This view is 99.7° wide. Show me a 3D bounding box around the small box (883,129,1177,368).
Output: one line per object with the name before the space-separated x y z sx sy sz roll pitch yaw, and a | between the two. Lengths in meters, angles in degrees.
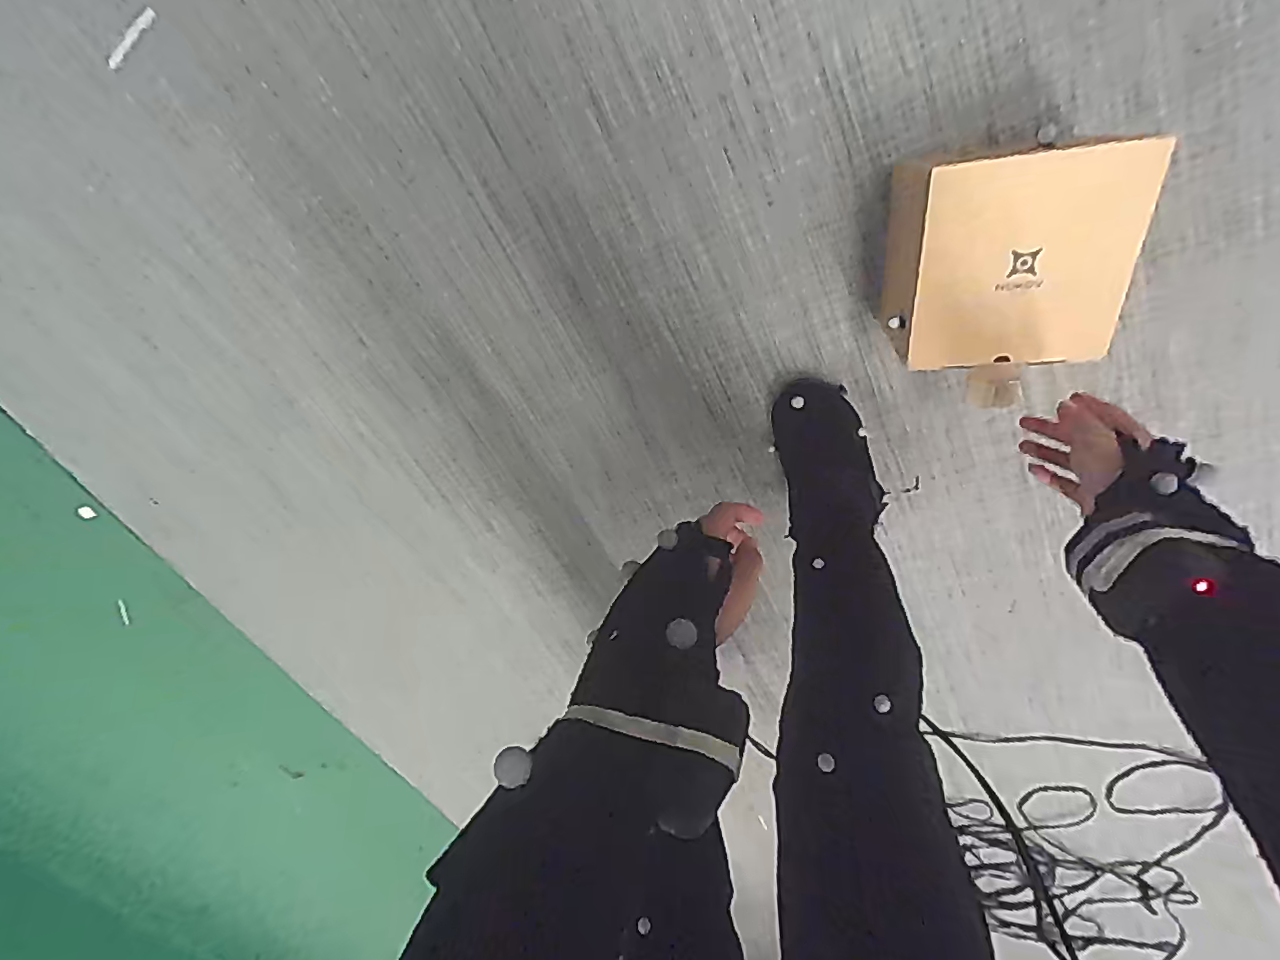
small box | 0.341 -0.223 0.522 0.168 0.176 0.179 0 122 14
